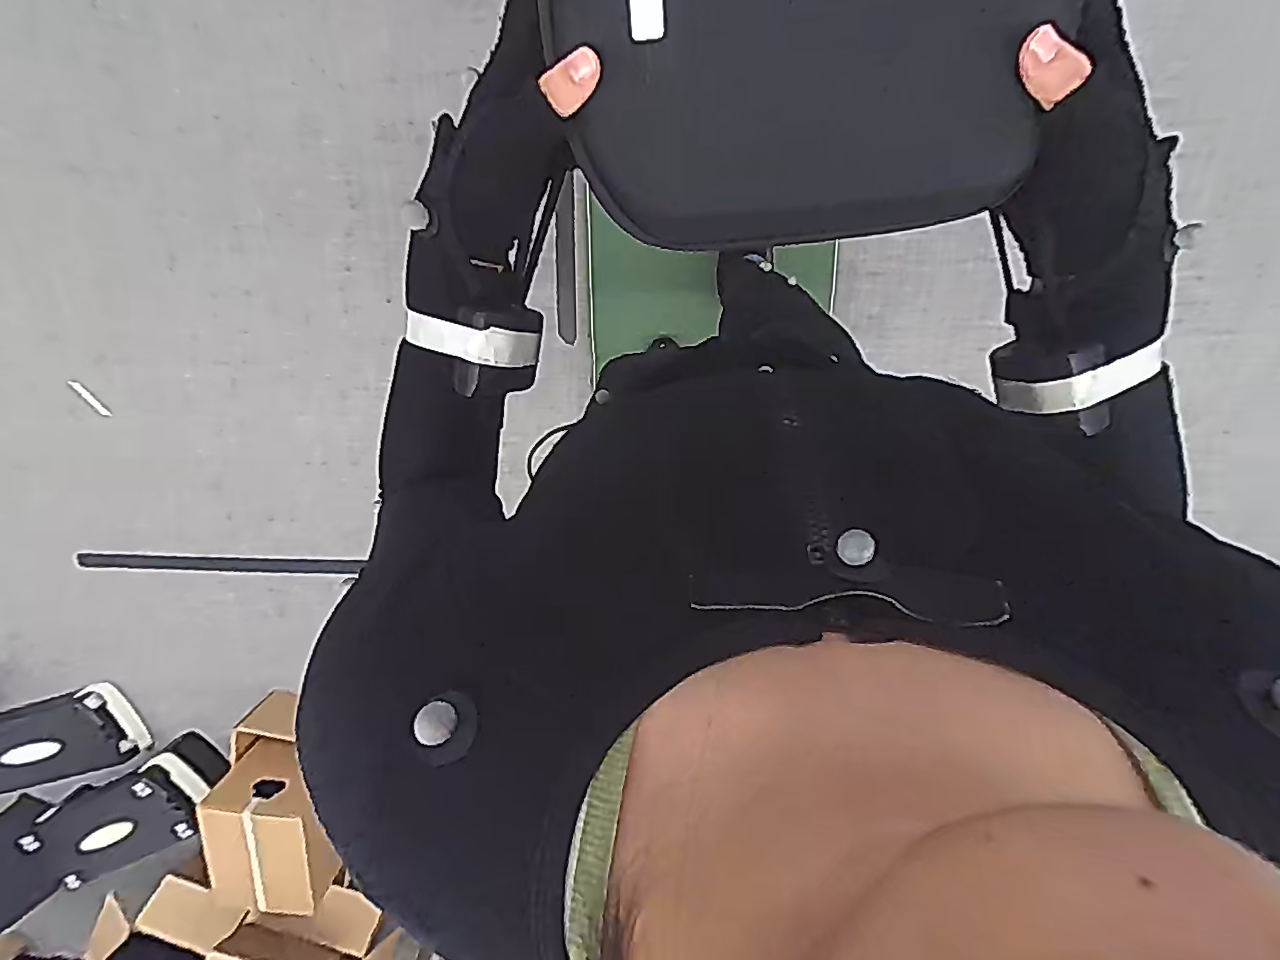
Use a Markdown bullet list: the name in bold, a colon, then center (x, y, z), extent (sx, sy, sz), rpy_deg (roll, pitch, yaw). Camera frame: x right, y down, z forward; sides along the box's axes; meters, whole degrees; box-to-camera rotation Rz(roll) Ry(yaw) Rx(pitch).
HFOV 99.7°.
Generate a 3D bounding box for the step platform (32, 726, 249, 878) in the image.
- **step platform**: center (-1.780, 1.153, 1.929), extent (0.684, 0.204, 0.286), rpy_deg (-28, 105, 11)
